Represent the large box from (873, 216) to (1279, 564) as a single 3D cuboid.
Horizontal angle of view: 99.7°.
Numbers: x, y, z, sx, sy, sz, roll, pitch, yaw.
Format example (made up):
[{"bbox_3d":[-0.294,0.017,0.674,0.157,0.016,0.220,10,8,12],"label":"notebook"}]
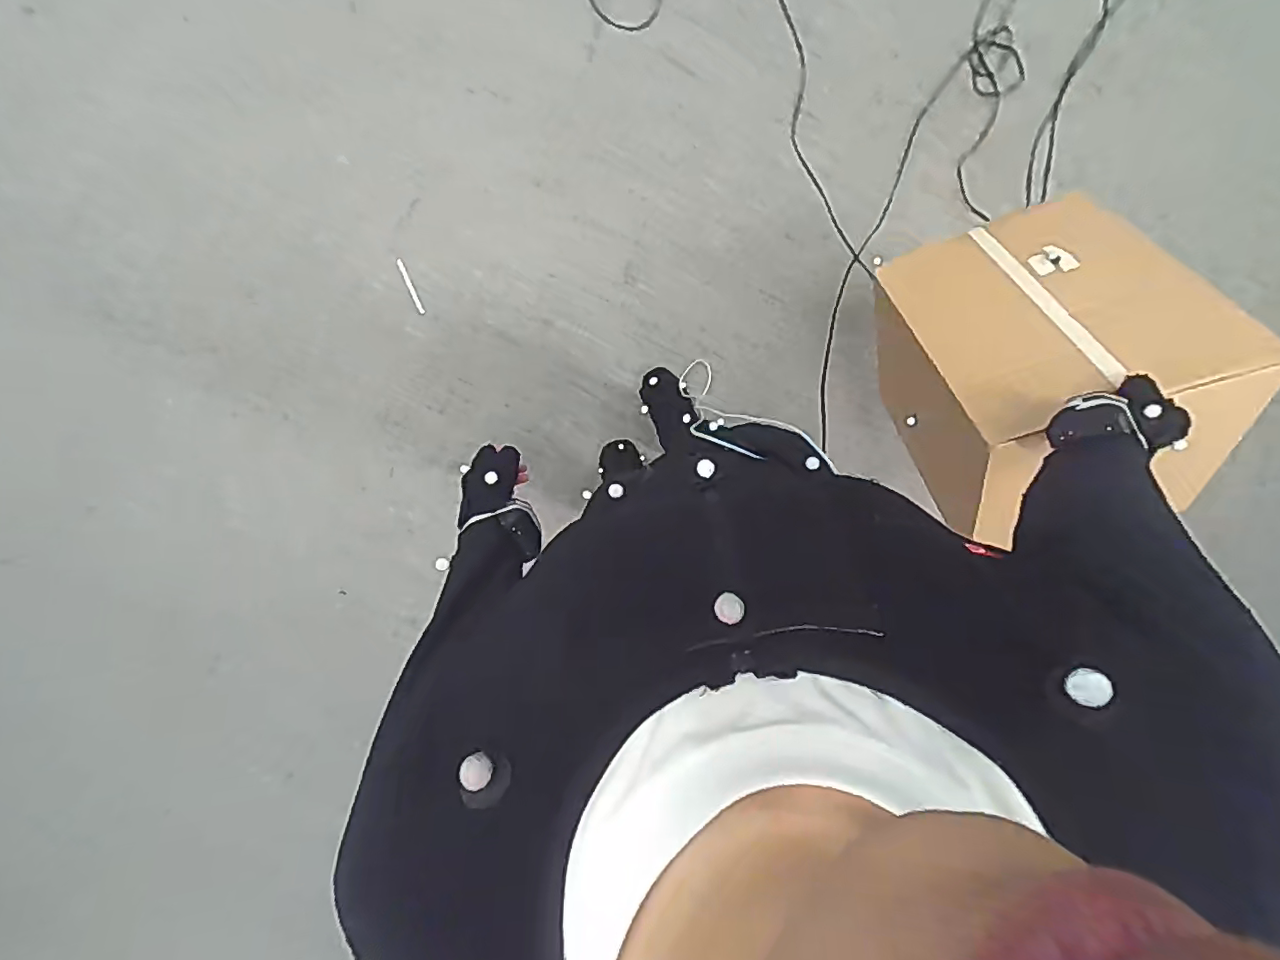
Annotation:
[{"bbox_3d":[0.605,-0.137,0.864,0.320,0.408,0.320,-16,138,12],"label":"large box"}]
